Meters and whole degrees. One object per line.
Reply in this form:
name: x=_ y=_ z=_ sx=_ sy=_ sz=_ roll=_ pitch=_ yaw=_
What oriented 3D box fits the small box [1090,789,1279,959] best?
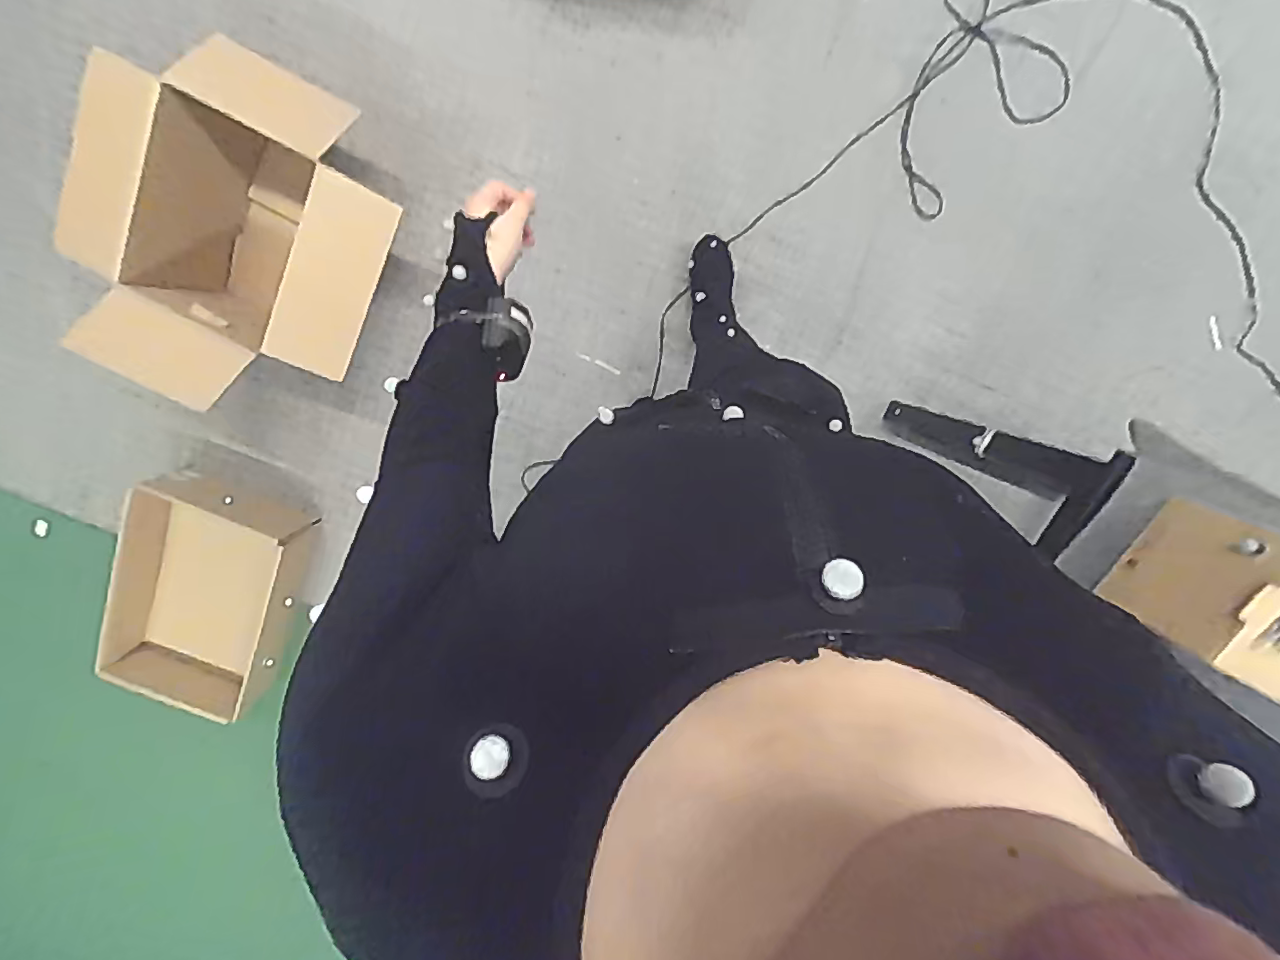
small box: x=0.649 y=0.474 z=0.594 sx=0.179 sy=0.176 sz=0.168 roll=-6 pitch=106 yaw=2

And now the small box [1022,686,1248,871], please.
small box: x=0.665 y=0.419 z=0.747 sx=0.179 sy=0.176 sz=0.168 roll=-17 pitch=105 yaw=6
